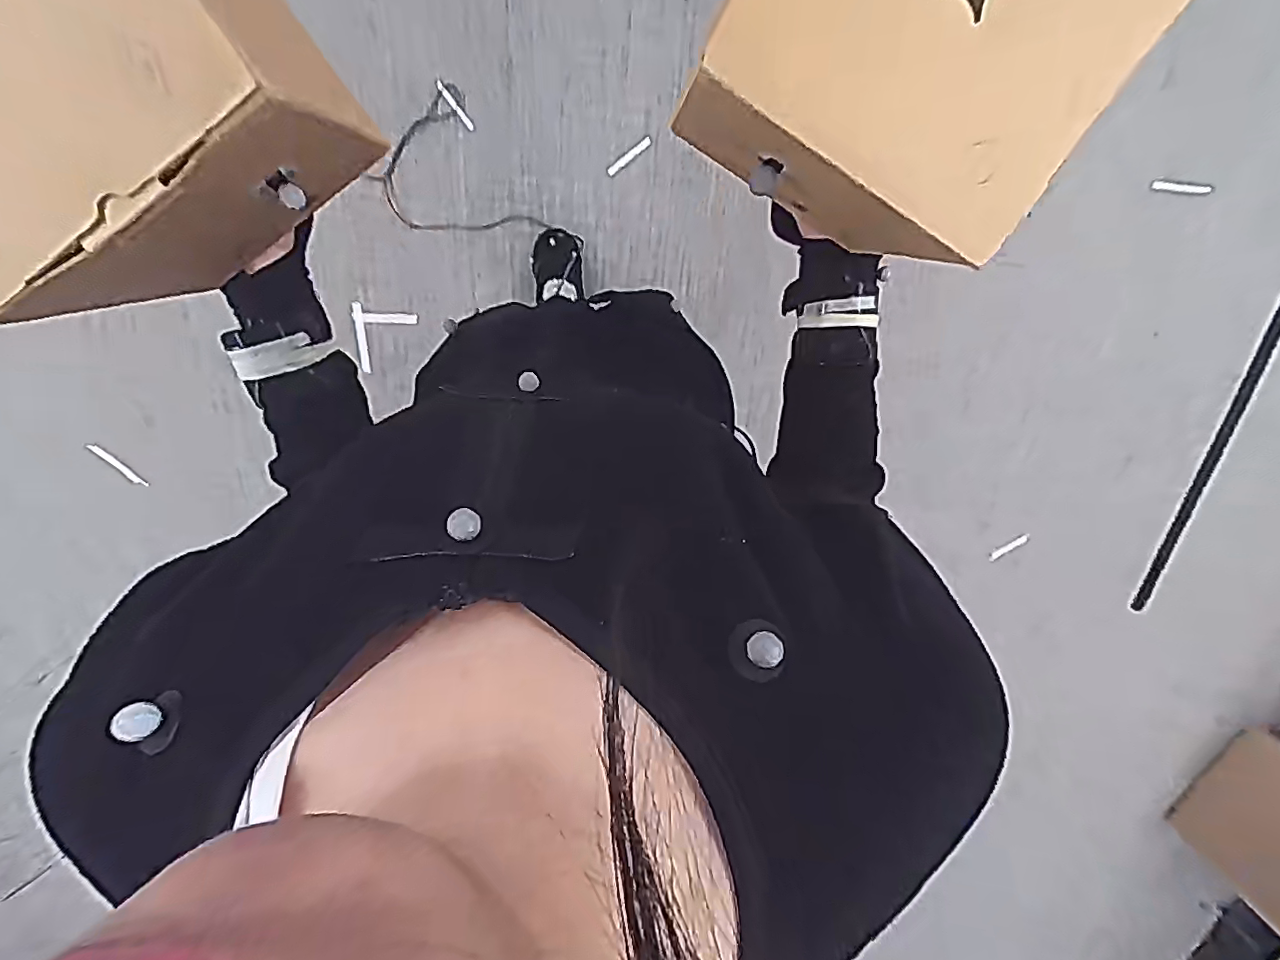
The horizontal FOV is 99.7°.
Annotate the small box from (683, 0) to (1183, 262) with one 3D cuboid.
[{"bbox_3d":[0.134,-0.241,0.289,0.168,0.176,0.179,26,111,-13],"label":"small box"}]

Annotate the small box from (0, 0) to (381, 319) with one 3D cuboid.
[{"bbox_3d":[-0.263,-0.206,0.258,0.168,0.176,0.179,-33,114,7],"label":"small box"}]
